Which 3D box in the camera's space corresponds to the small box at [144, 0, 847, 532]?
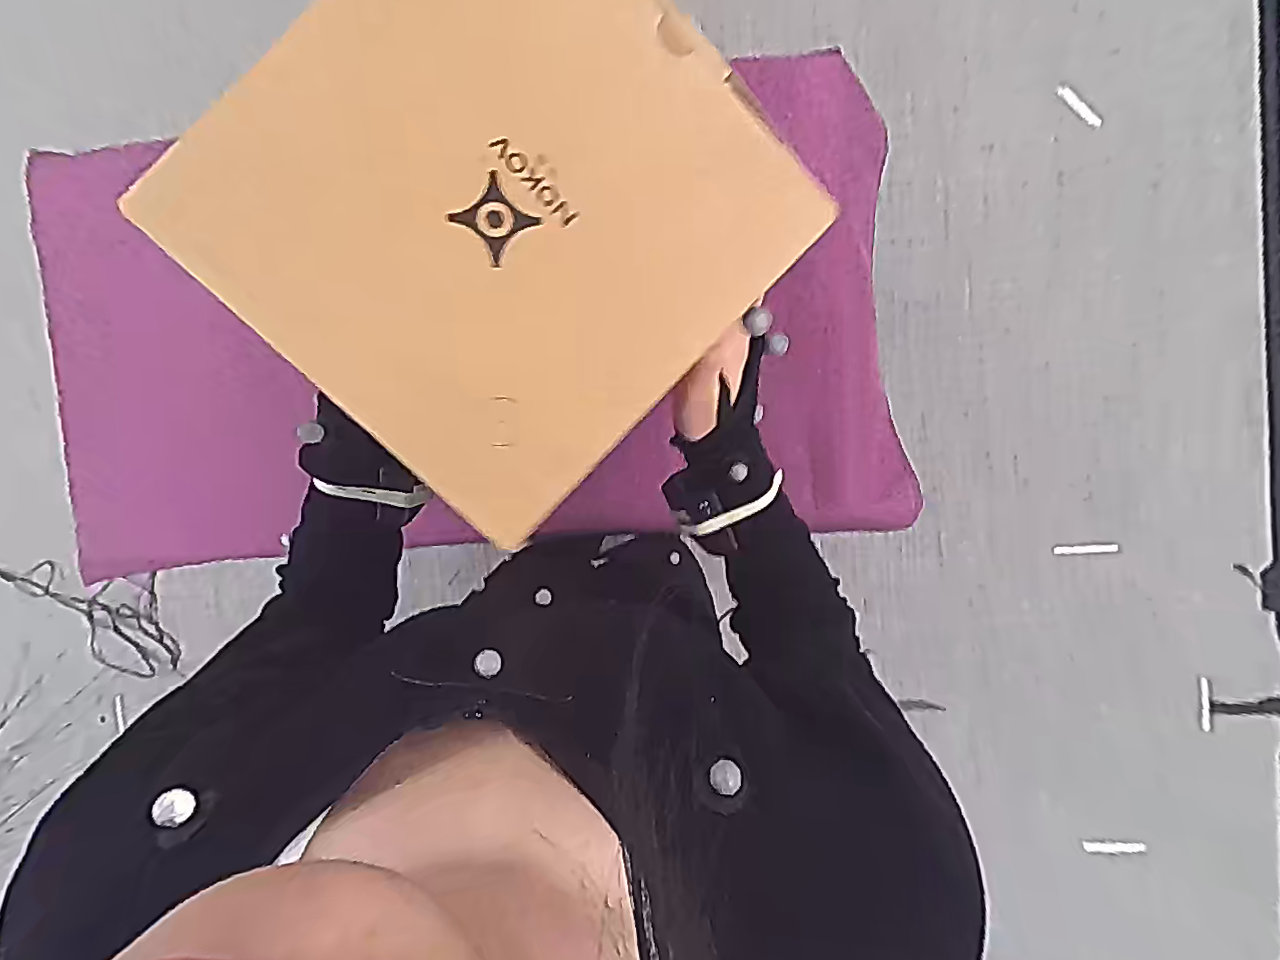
[{"bbox_3d":[-0.049,-0.105,0.259,0.168,0.176,0.179,43,90,-10],"label":"small box"}]
